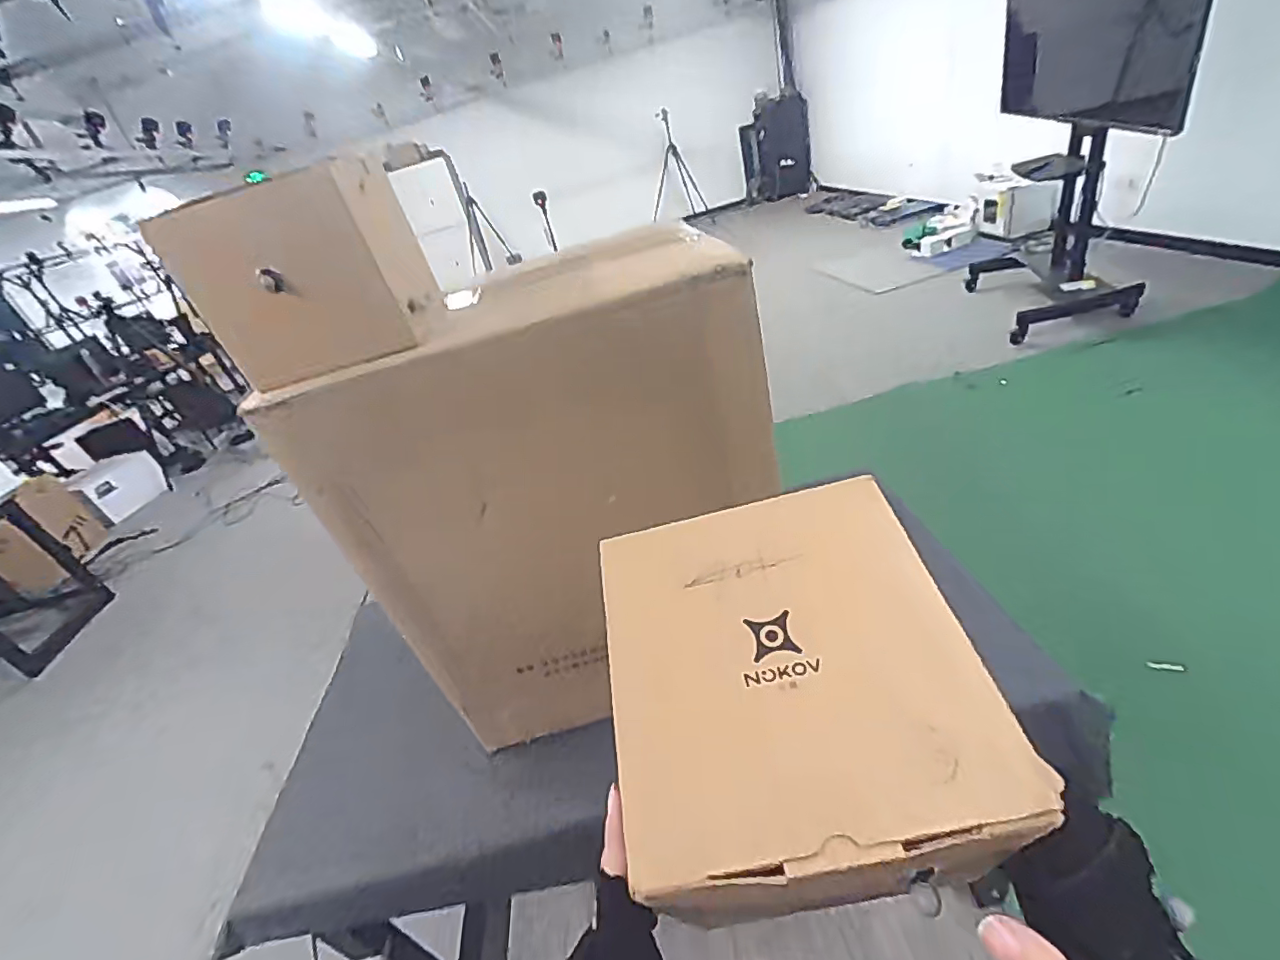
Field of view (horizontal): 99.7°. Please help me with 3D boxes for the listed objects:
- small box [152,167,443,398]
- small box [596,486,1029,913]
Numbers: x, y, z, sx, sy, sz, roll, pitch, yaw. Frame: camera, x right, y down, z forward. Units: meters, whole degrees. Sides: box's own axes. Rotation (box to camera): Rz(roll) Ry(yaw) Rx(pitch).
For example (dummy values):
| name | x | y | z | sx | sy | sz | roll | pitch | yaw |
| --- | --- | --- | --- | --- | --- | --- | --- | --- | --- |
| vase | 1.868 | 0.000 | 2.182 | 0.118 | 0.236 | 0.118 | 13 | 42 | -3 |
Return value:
| name | x | y | z | sx | sy | sz | roll | pitch | yaw |
| --- | --- | --- | --- | --- | --- | --- | --- | --- | --- |
| small box | -0.329 | -0.210 | 0.571 | 0.179 | 0.176 | 0.168 | -17 | 34 | -1 |
| small box | 0.079 | 0.136 | 0.324 | 0.168 | 0.176 | 0.179 | -14 | 45 | 4 |
